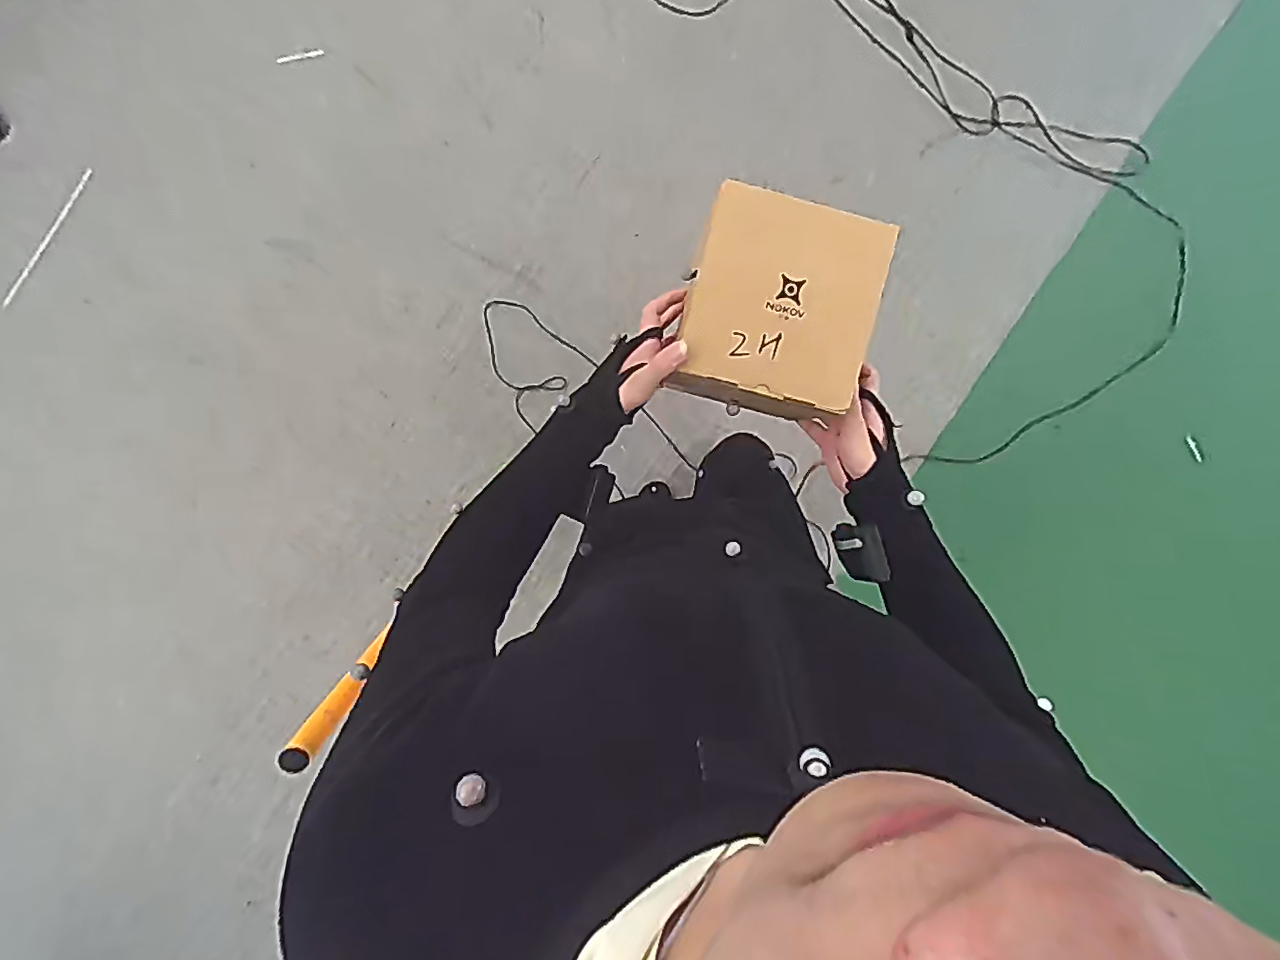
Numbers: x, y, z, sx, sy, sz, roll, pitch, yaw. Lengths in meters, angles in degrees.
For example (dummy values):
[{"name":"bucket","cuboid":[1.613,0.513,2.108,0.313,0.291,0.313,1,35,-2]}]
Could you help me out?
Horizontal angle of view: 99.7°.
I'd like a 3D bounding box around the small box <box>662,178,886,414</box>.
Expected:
[{"name":"small box","cuboid":[0.124,-0.177,0.577,0.168,0.176,0.179,15,94,-3]}]
